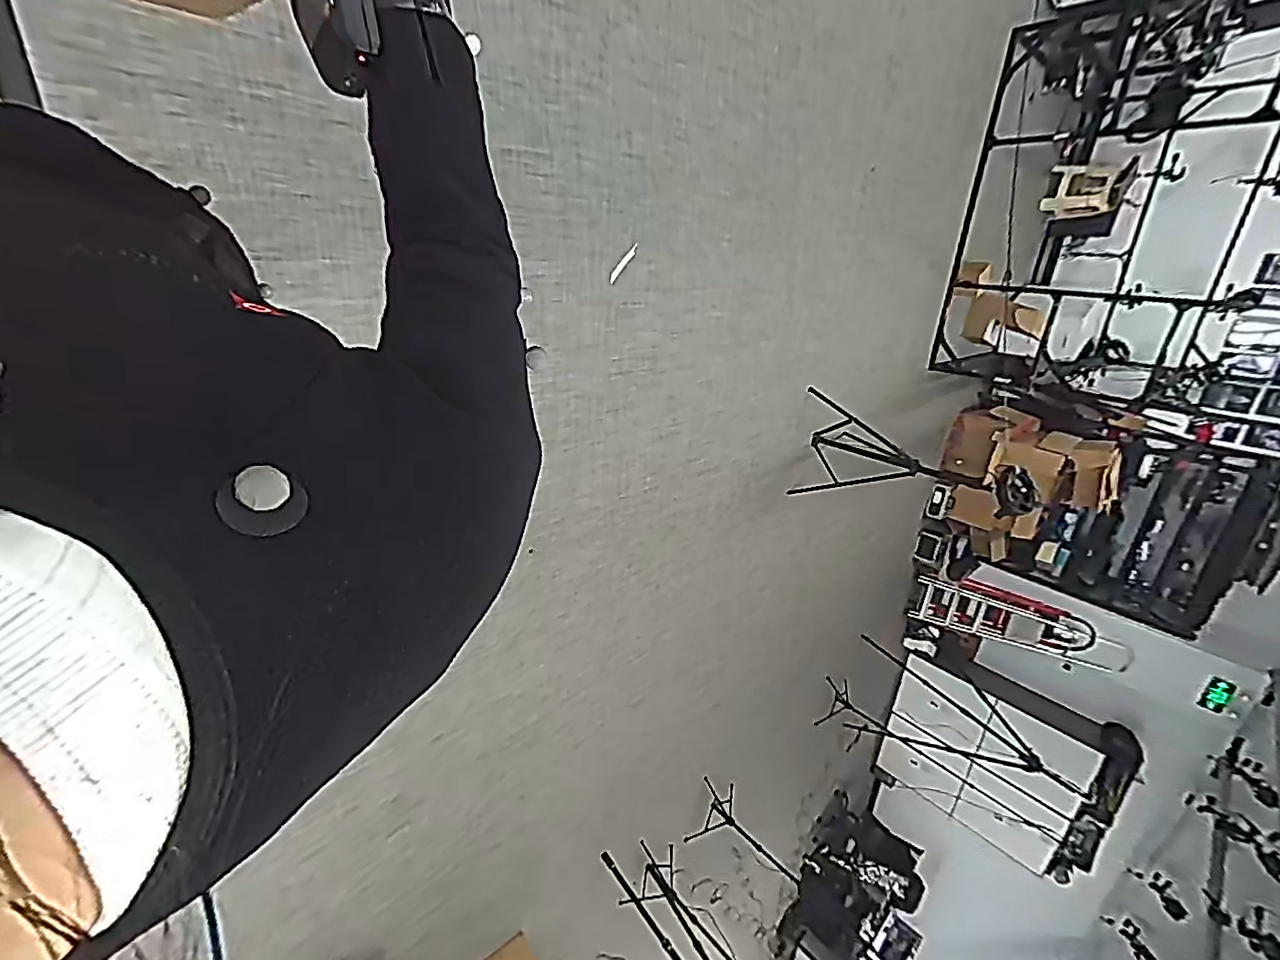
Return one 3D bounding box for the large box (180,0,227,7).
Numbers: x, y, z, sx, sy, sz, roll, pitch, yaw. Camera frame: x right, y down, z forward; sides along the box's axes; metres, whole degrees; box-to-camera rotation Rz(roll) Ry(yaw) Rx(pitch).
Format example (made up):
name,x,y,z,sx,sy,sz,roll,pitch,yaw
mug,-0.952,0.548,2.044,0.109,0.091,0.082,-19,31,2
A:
name,x,y,z,sx,sy,sz,roll,pitch,yaw
large box,-0.427,-0.467,0.227,0.408,0.320,0.320,-17,129,-40
